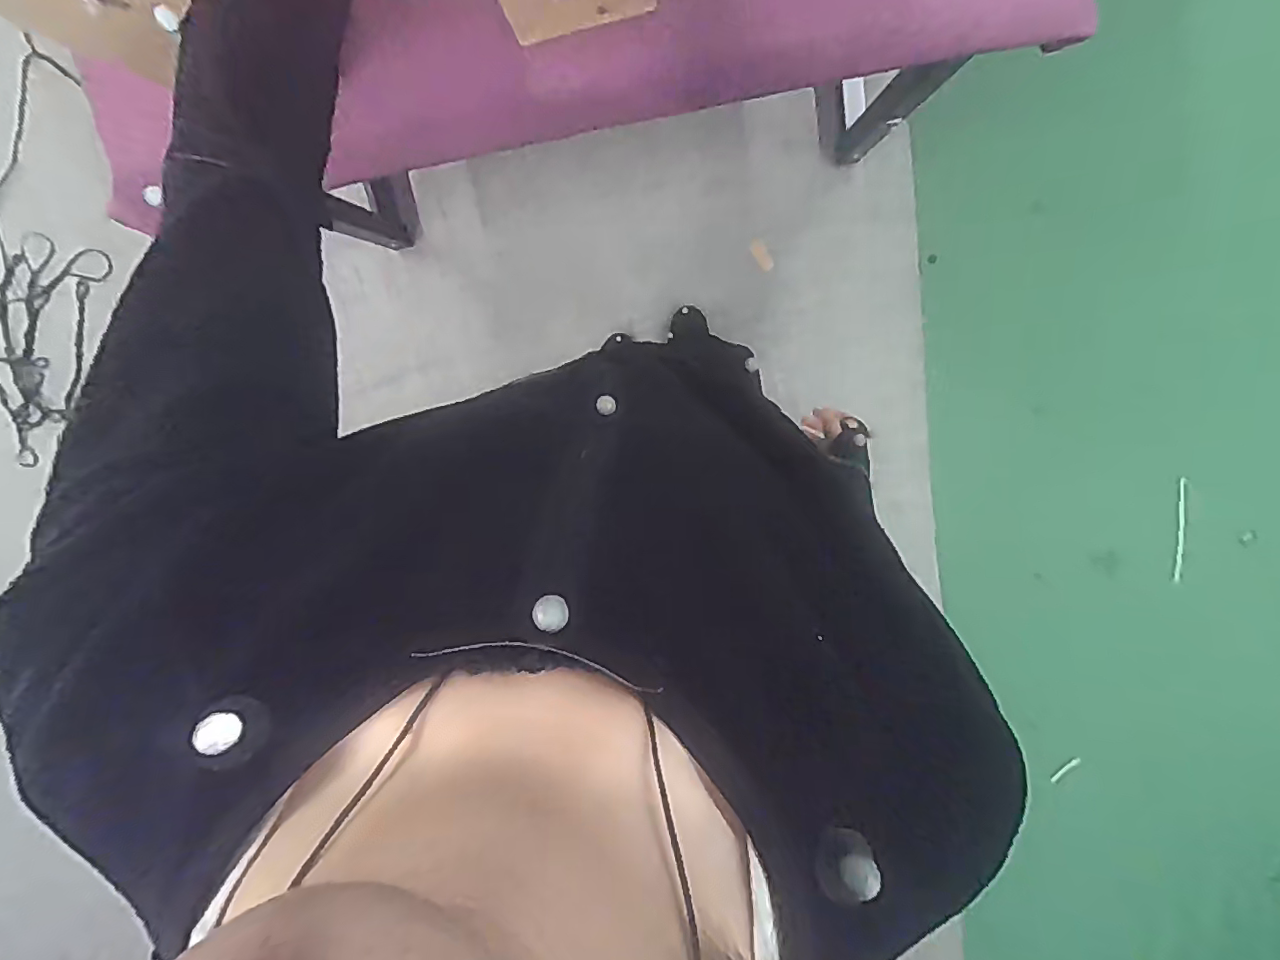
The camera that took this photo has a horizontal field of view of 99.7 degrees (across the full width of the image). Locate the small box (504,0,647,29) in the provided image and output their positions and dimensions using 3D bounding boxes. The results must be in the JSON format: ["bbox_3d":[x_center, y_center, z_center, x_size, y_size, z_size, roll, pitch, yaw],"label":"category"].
[{"bbox_3d":[-0.084,-0.599,0.540,0.168,0.176,0.179,-11,102,5],"label":"small box"}]

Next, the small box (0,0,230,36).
[{"bbox_3d":[-0.471,-0.485,0.415,0.168,0.176,0.179,-9,105,5],"label":"small box"}]
